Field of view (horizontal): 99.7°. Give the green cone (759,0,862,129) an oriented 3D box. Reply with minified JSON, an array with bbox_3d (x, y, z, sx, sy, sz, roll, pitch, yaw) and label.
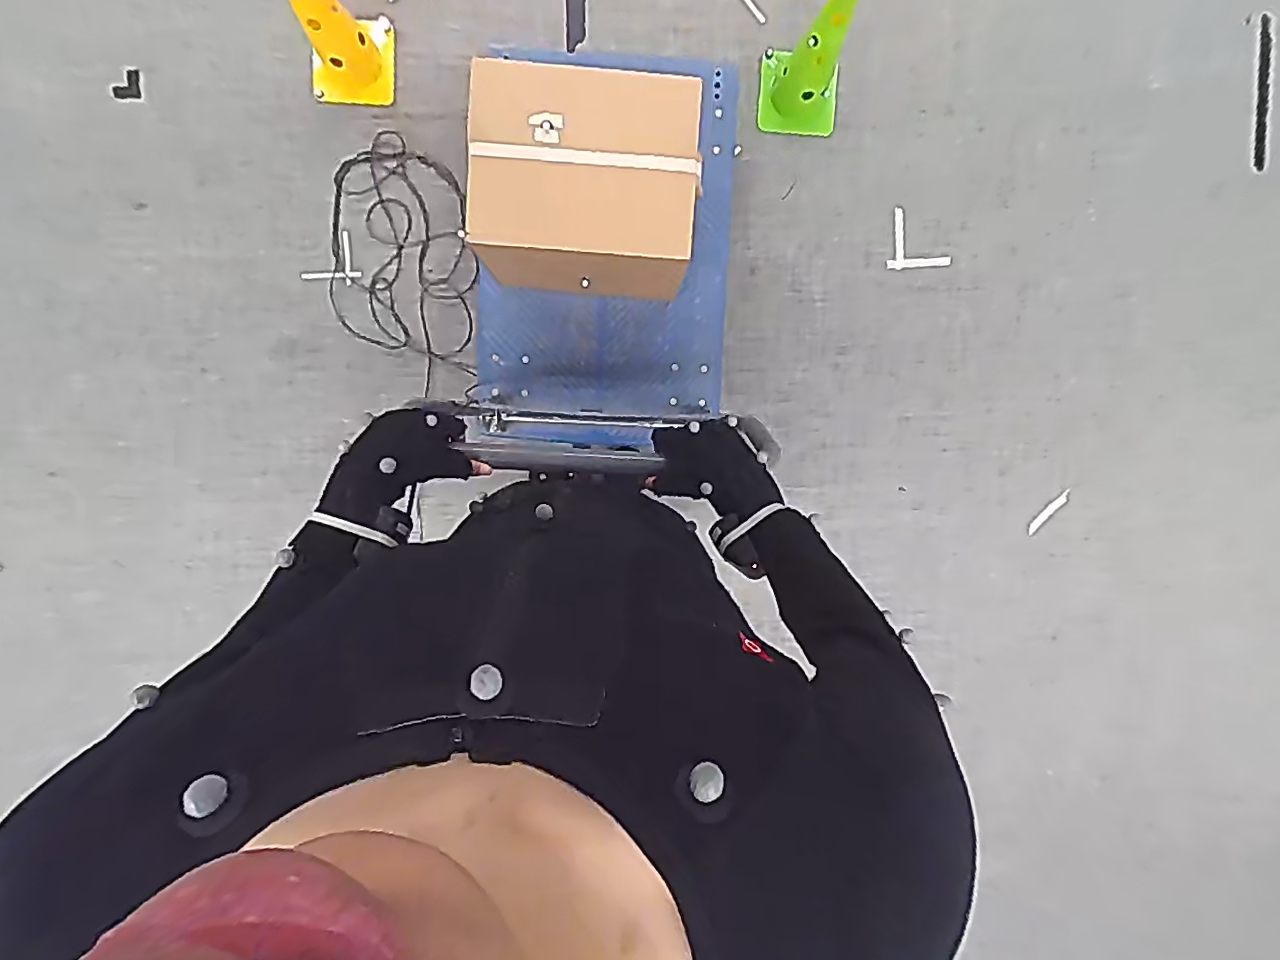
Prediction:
[{"bbox_3d":[0.419,-1.005,1.228,0.202,0.368,0.200,3,95,-4],"label":"green cone"}]

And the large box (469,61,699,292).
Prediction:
[{"bbox_3d":[-0.102,-0.581,1.102,0.408,0.320,0.320,4,95,-1],"label":"large box"}]
